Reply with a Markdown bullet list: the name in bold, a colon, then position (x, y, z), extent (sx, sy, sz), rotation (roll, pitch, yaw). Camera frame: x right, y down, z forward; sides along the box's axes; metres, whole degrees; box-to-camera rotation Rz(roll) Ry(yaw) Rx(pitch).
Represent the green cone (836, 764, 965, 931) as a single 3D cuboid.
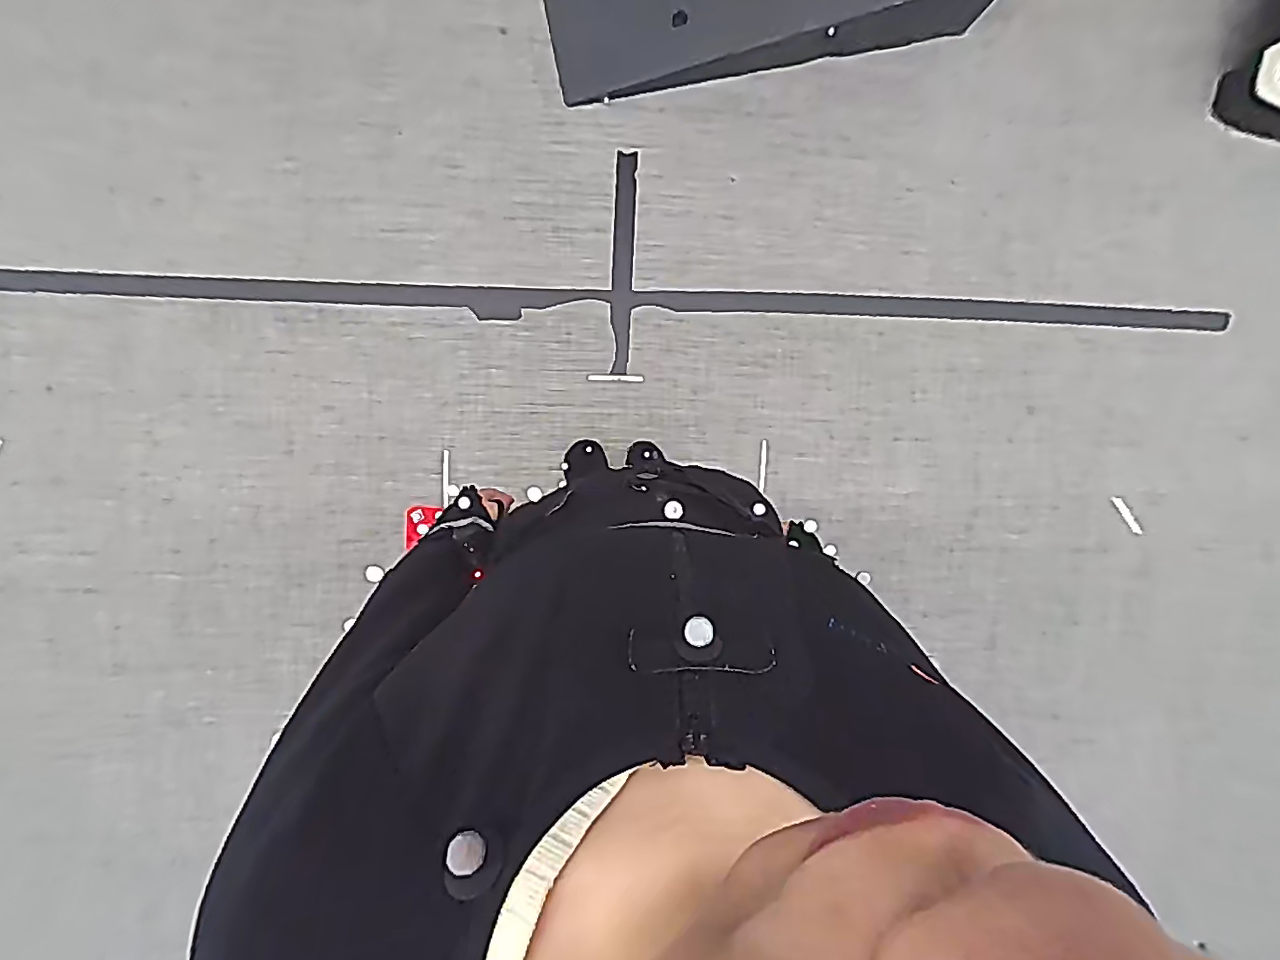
- **green cone**: position (0.650, 0.905, 1.314), extent (0.200, 0.368, 0.202), rotation (-9, 98, -2)
